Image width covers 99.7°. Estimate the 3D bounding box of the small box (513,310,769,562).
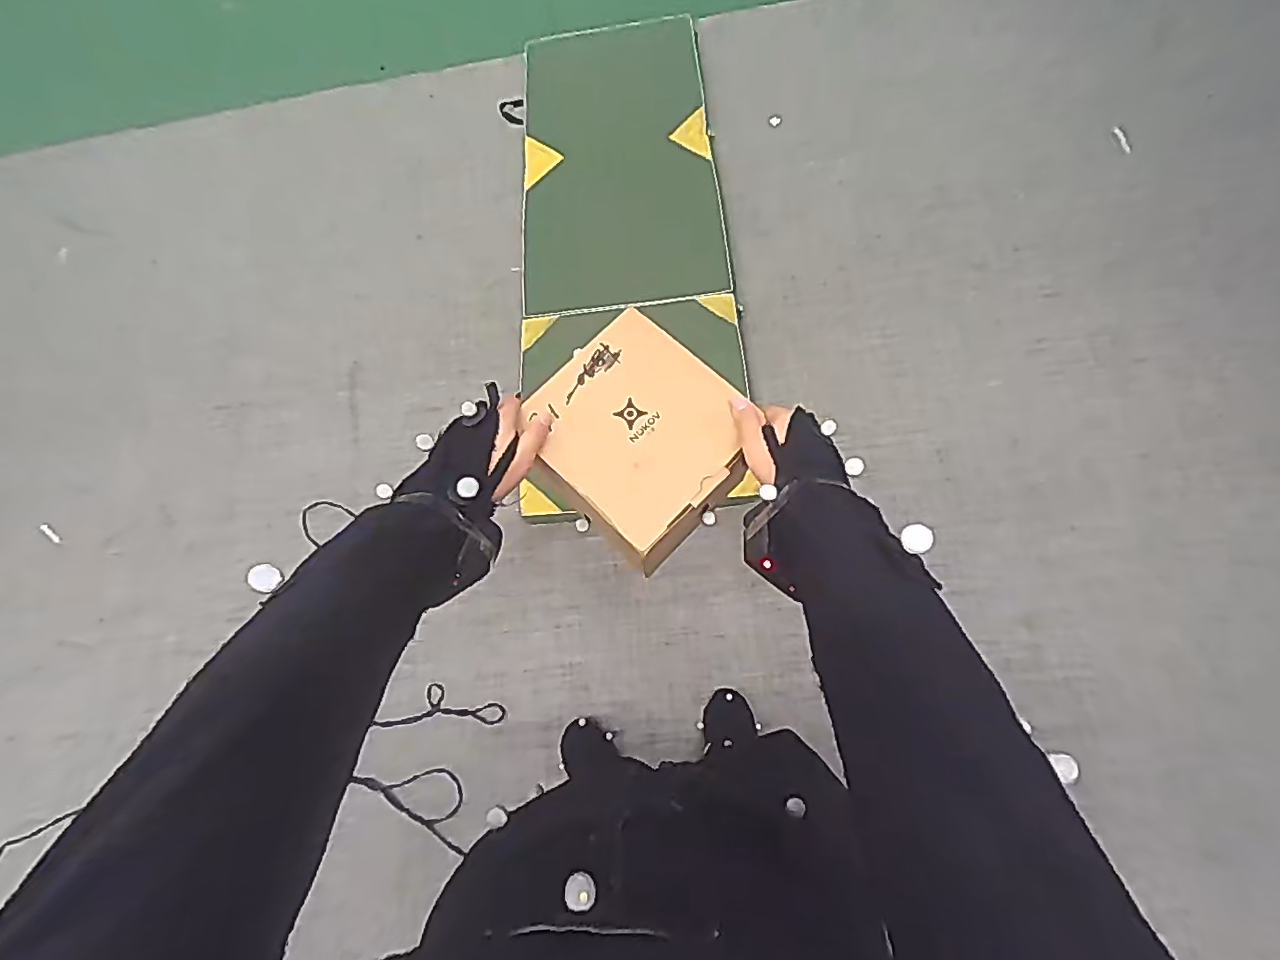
[{"bbox_3d":[0.003,-0.030,0.564,0.179,0.176,0.168,43,79,13],"label":"small box"}]
